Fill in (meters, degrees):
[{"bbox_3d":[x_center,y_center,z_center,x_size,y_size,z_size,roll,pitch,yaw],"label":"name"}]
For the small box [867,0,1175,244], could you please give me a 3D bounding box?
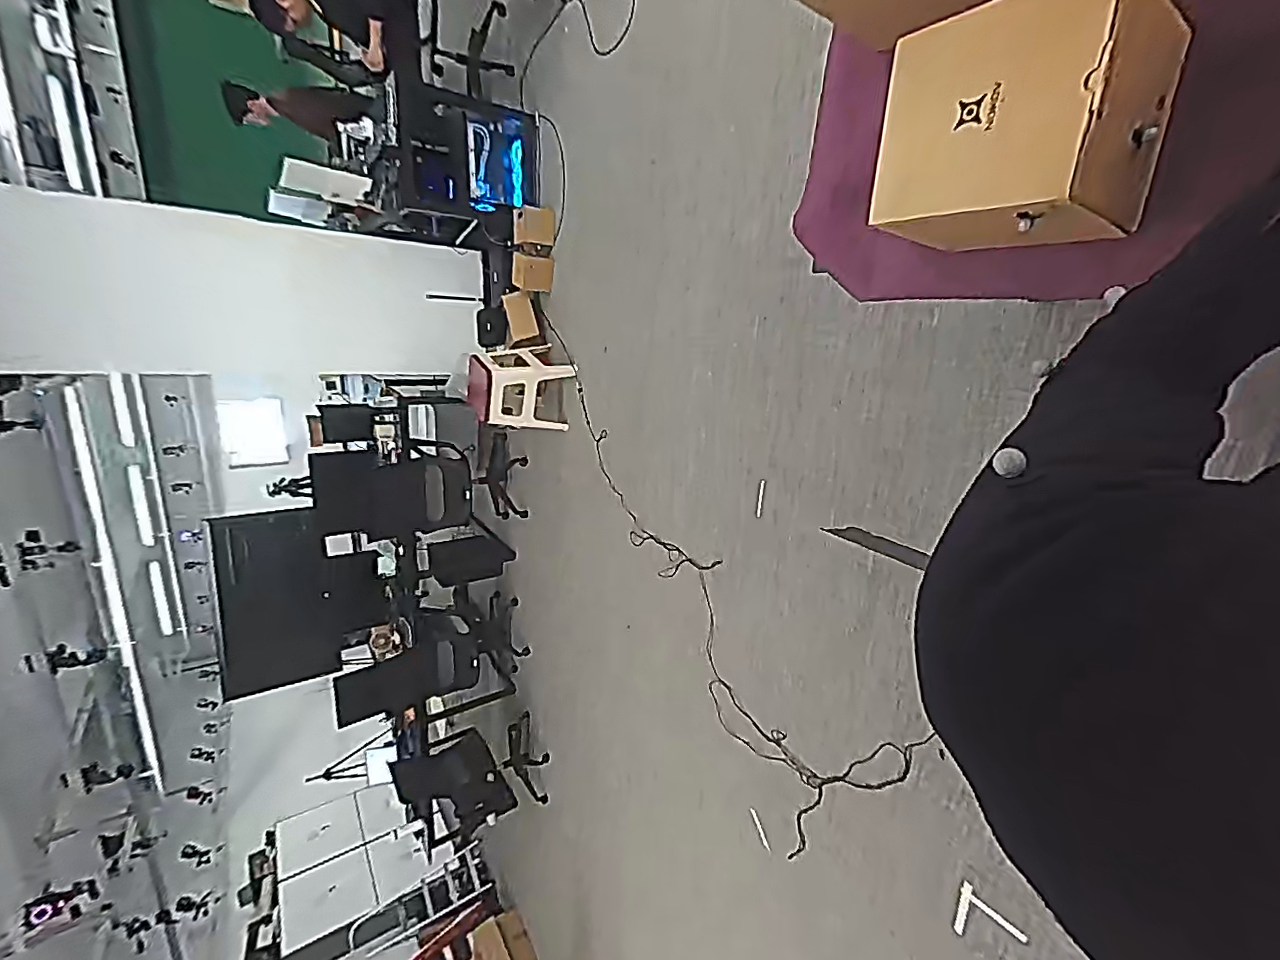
[{"bbox_3d":[0.355,-0.332,0.517,0.179,0.176,0.168,22,114,51],"label":"small box"}]
